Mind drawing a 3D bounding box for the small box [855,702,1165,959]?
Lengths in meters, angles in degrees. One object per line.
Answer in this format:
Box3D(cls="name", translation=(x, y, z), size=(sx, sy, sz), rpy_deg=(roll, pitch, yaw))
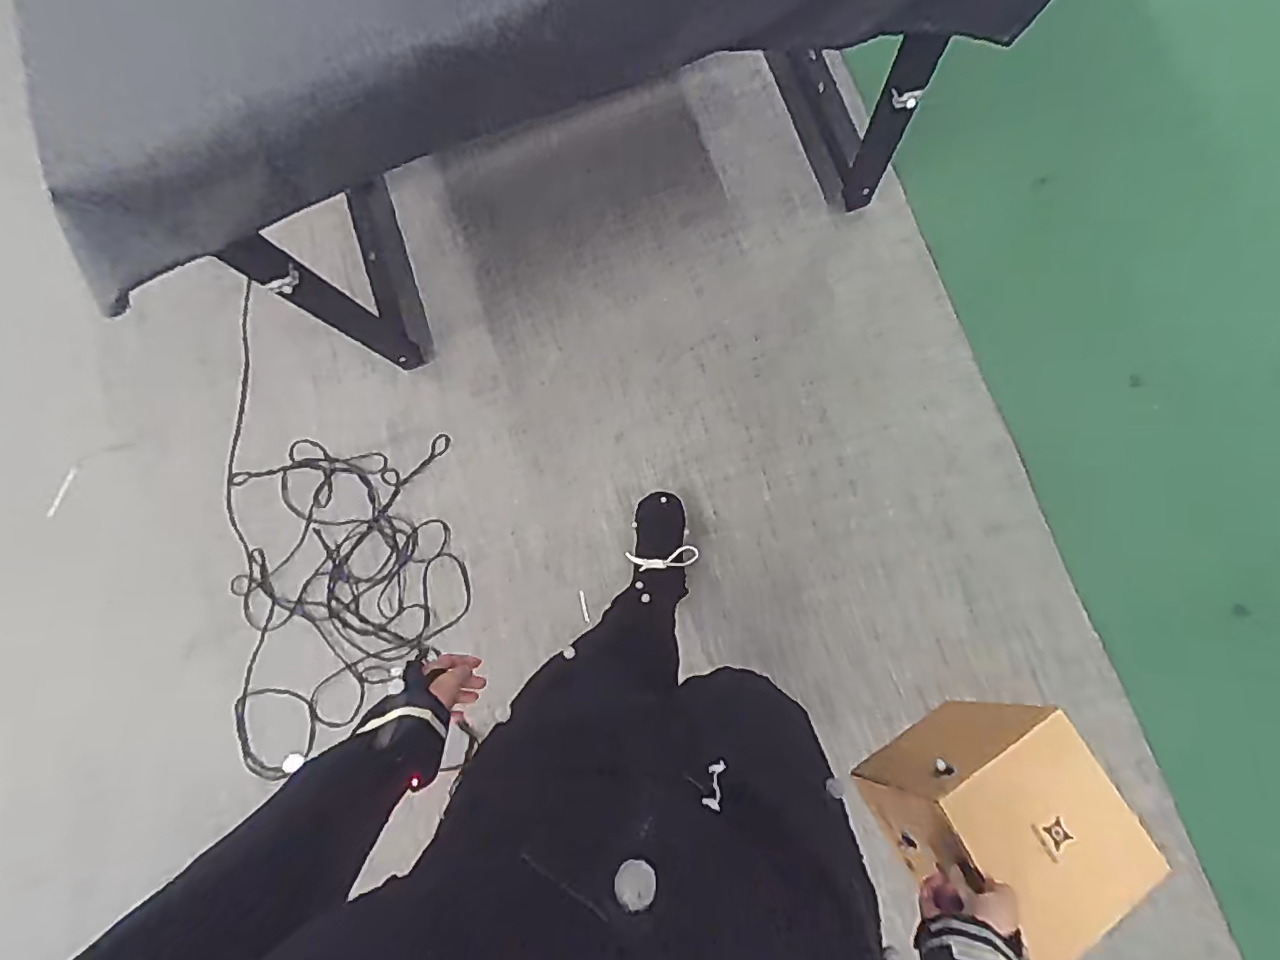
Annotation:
Box3D(cls="small box", translation=(0.372, 0.356, 0.577), size=(0.179, 0.176, 0.168), rpy_deg=(-25, 77, -15))
